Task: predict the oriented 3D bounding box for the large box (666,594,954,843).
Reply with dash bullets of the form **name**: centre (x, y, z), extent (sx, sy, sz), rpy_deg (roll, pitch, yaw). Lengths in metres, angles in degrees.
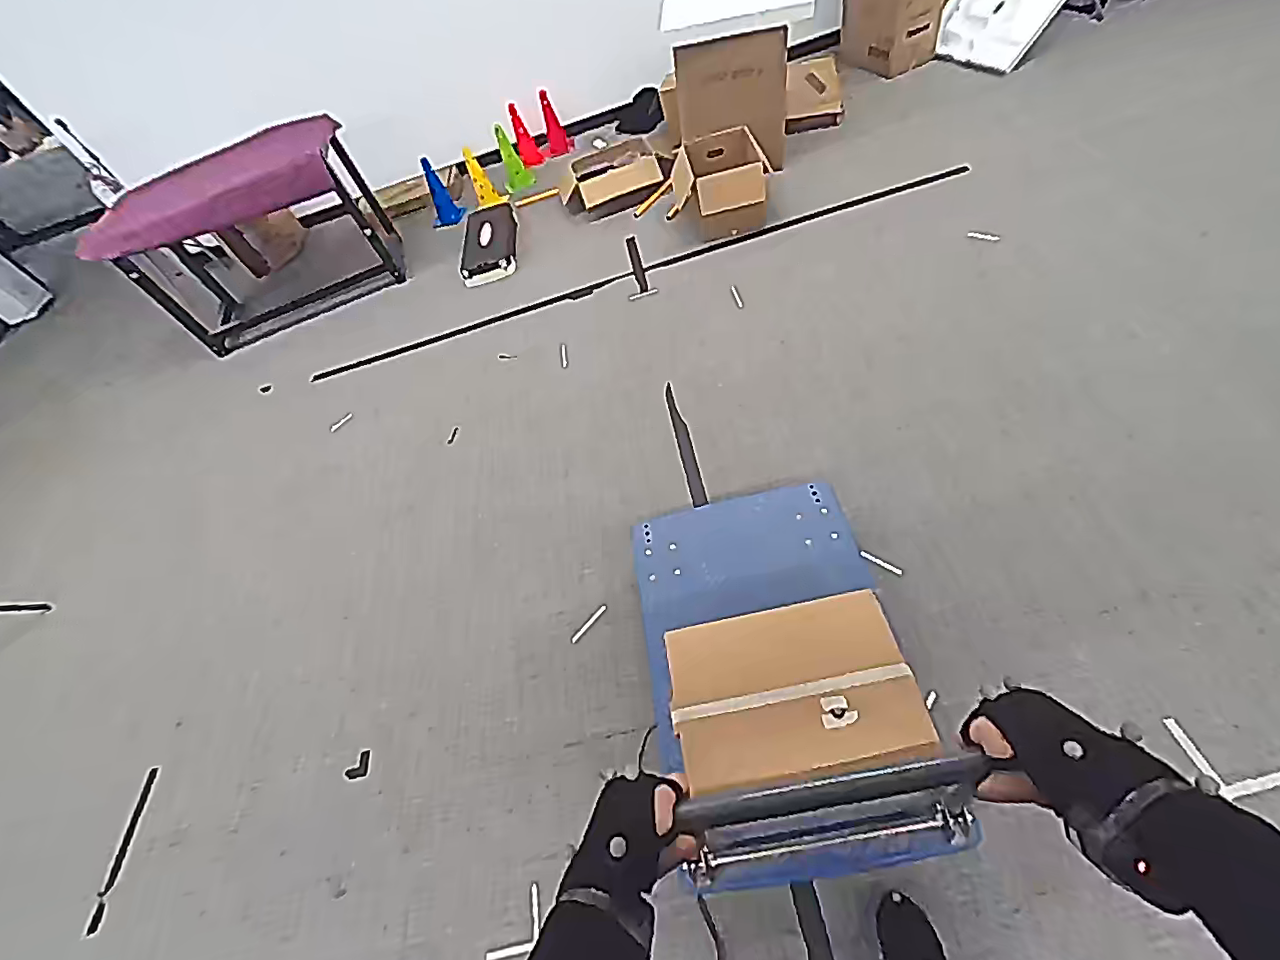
- **large box**: centre (0.291, 0.462, 1.029), extent (0.408, 0.320, 0.320), rpy_deg (-14, 51, 5)
